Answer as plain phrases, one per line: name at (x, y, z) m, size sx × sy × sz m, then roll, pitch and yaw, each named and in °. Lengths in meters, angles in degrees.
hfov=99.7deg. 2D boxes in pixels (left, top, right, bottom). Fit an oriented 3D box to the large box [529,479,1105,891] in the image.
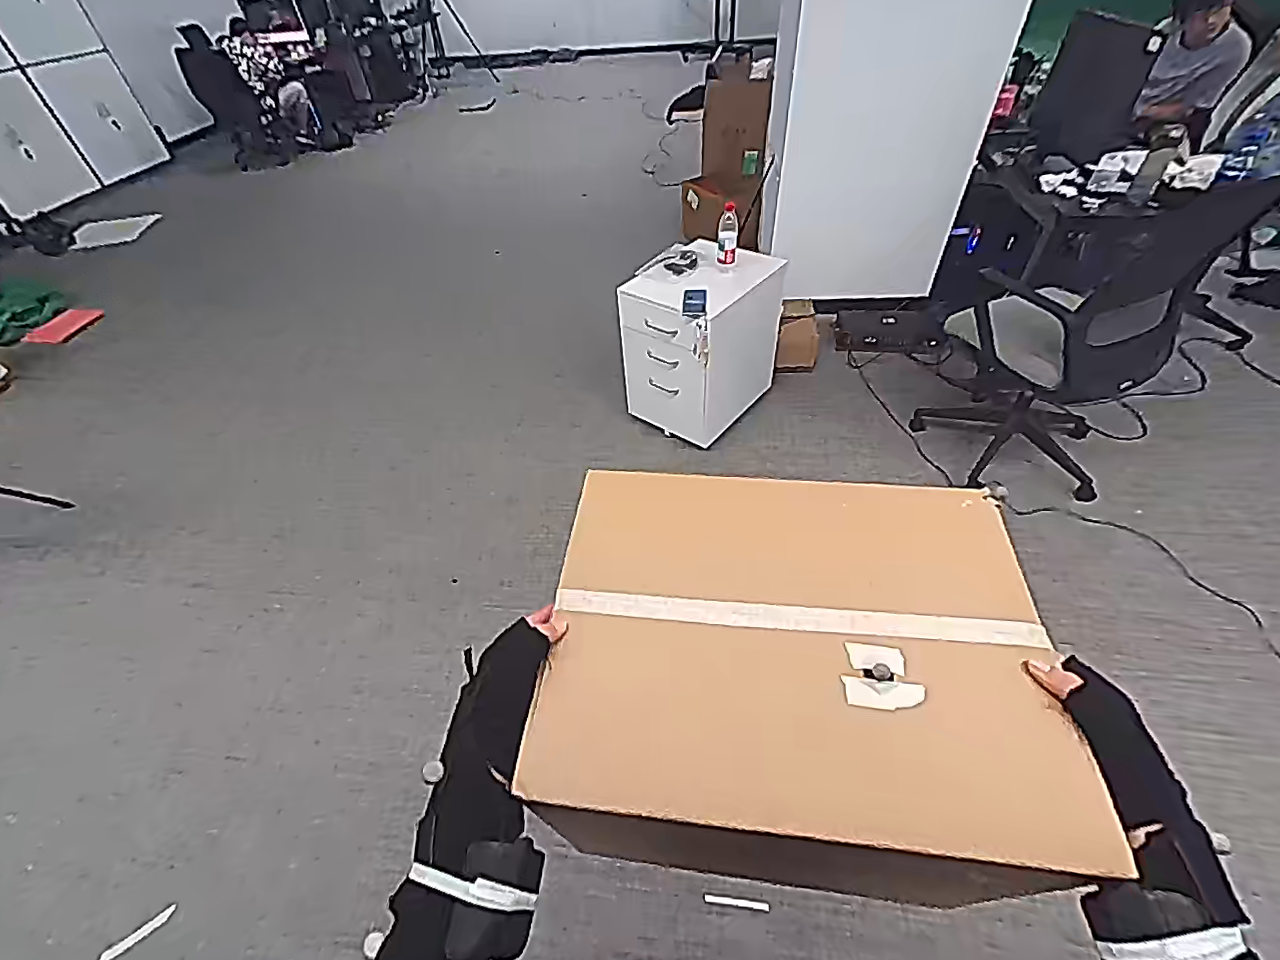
large box at (0.136, 0.219, 0.585) m, size 0.408 × 0.320 × 0.320 m, roll 3°, pitch 51°, yaw 7°
